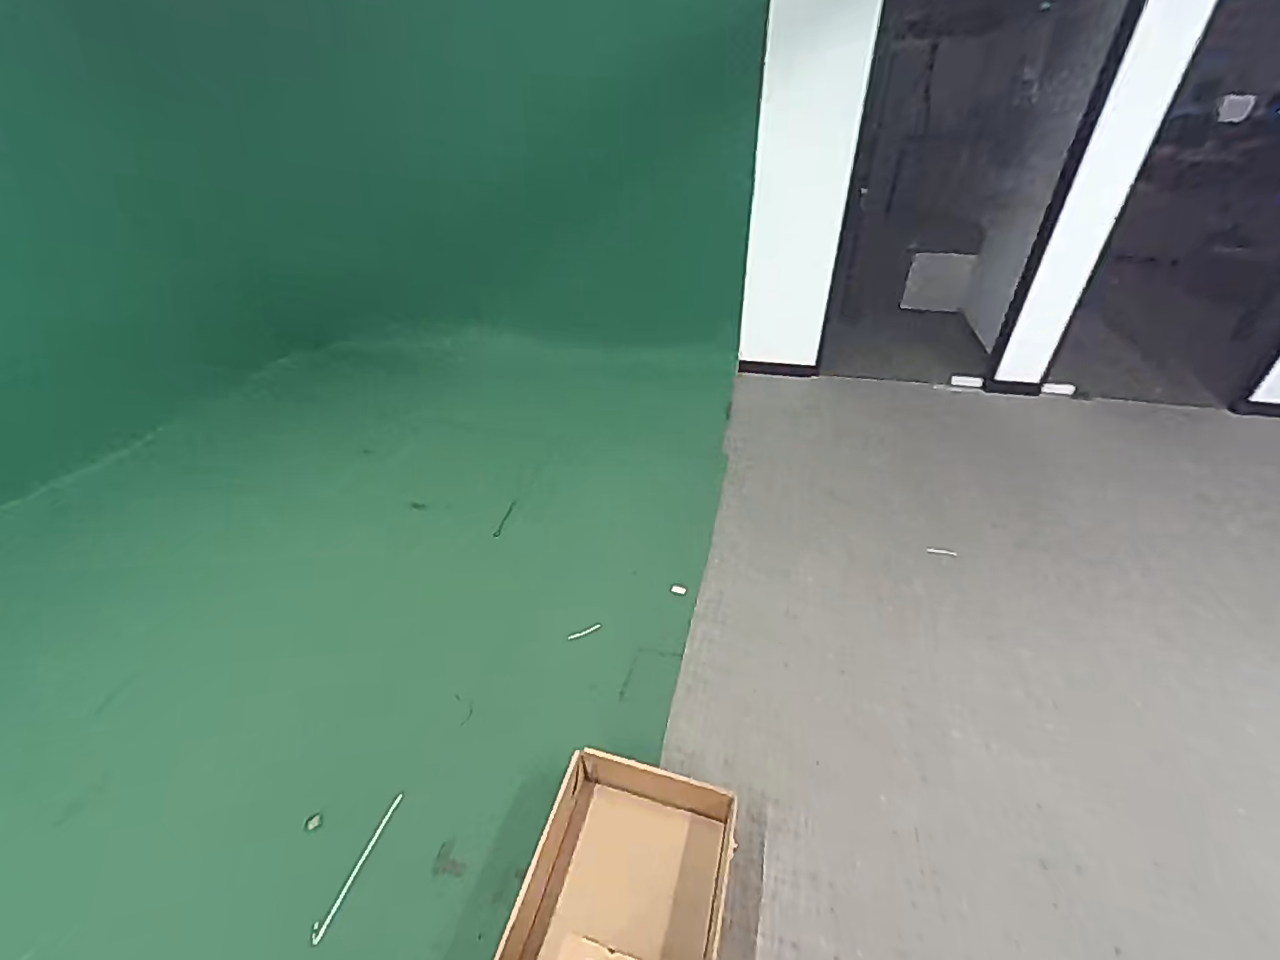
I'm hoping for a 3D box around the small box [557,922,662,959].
[{"bbox_3d":[-0.066,0.855,0.853,0.168,0.176,0.179,10,38,14],"label":"small box"}]
